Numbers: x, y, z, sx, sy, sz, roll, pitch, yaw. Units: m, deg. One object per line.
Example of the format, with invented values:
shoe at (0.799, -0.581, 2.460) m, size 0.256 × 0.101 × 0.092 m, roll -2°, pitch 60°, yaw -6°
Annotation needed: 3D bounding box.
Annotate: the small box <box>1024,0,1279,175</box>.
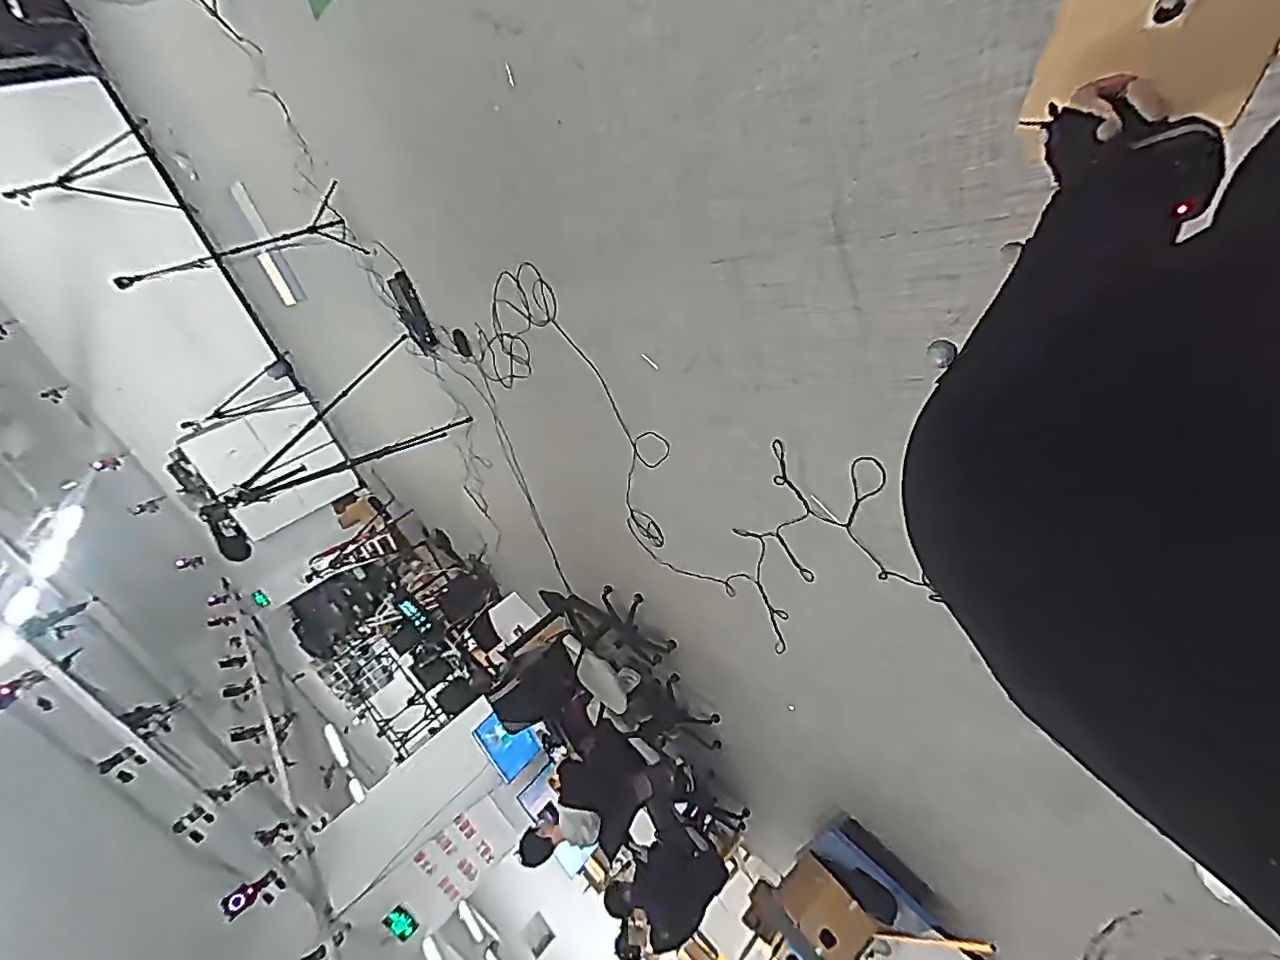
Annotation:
small box at (0.514, -0.418, 0.535) m, size 0.168 × 0.179 × 0.176 m, roll 26°, pitch 118°, yaw 32°
